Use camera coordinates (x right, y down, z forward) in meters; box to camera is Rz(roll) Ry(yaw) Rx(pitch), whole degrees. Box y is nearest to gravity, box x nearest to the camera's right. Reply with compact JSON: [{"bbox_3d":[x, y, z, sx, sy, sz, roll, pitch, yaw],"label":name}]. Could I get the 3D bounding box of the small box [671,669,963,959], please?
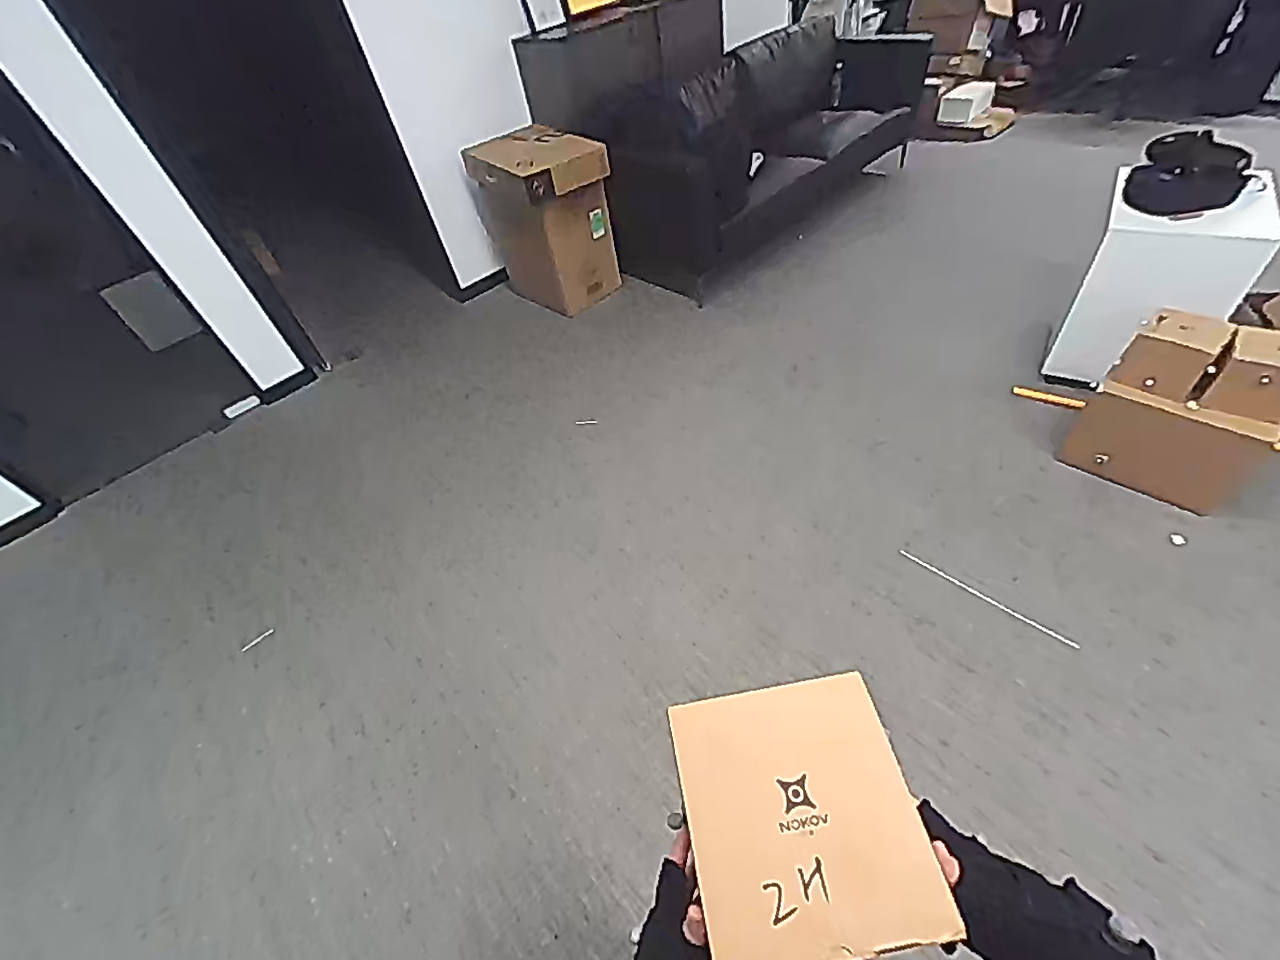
[{"bbox_3d":[0.121,0.284,0.455,0.168,0.176,0.179,-10,52,-1],"label":"small box"}]
